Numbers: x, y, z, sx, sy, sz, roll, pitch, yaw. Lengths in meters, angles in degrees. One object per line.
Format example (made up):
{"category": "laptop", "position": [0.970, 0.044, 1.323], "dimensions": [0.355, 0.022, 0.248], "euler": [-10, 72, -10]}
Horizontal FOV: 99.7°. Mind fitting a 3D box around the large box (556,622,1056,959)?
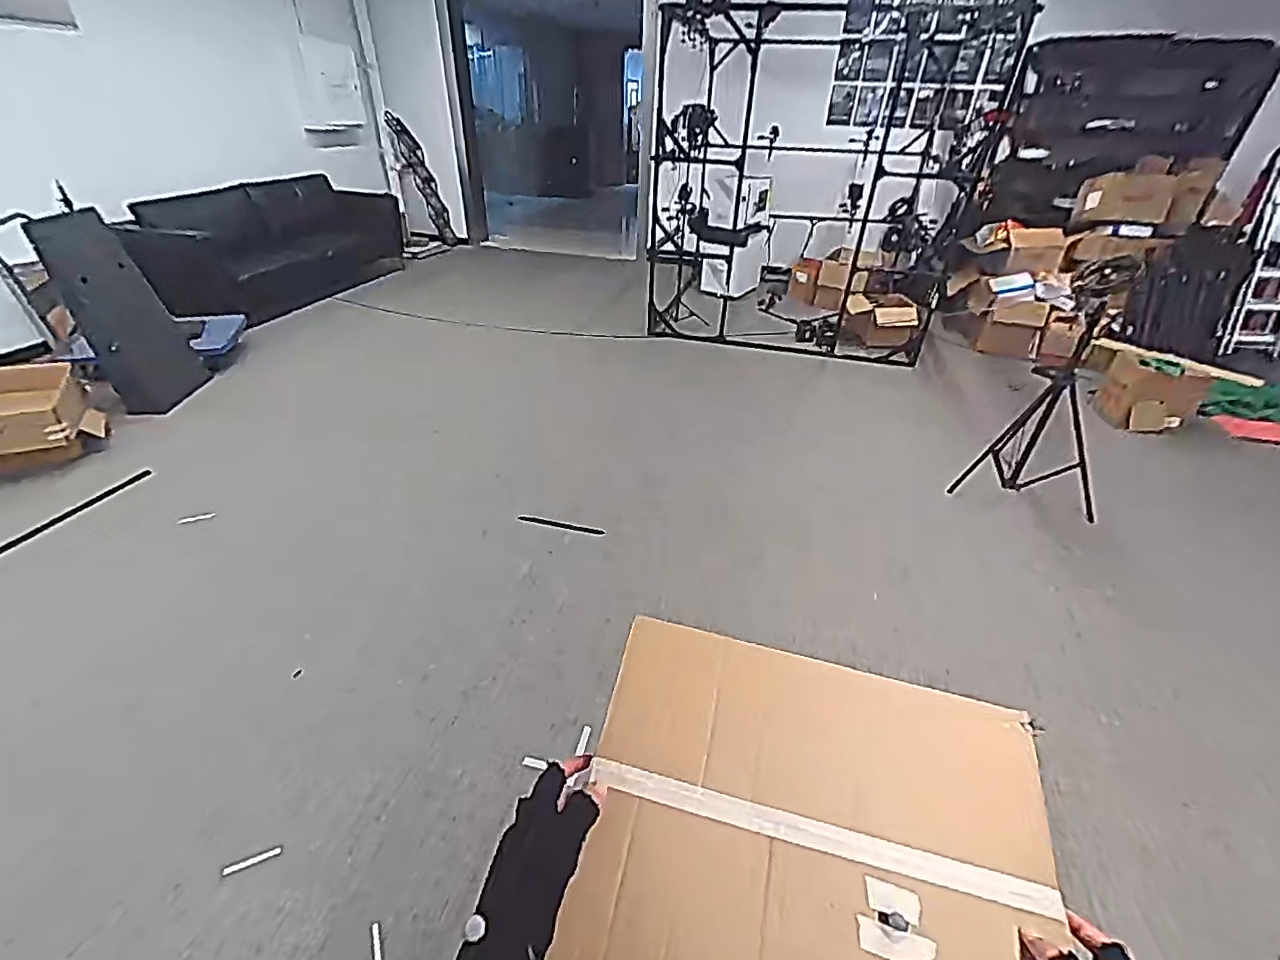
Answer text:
{"category": "large box", "position": [0.155, 0.404, 0.612], "dimensions": [0.408, 0.320, 0.320], "euler": [13, 55, 8]}
